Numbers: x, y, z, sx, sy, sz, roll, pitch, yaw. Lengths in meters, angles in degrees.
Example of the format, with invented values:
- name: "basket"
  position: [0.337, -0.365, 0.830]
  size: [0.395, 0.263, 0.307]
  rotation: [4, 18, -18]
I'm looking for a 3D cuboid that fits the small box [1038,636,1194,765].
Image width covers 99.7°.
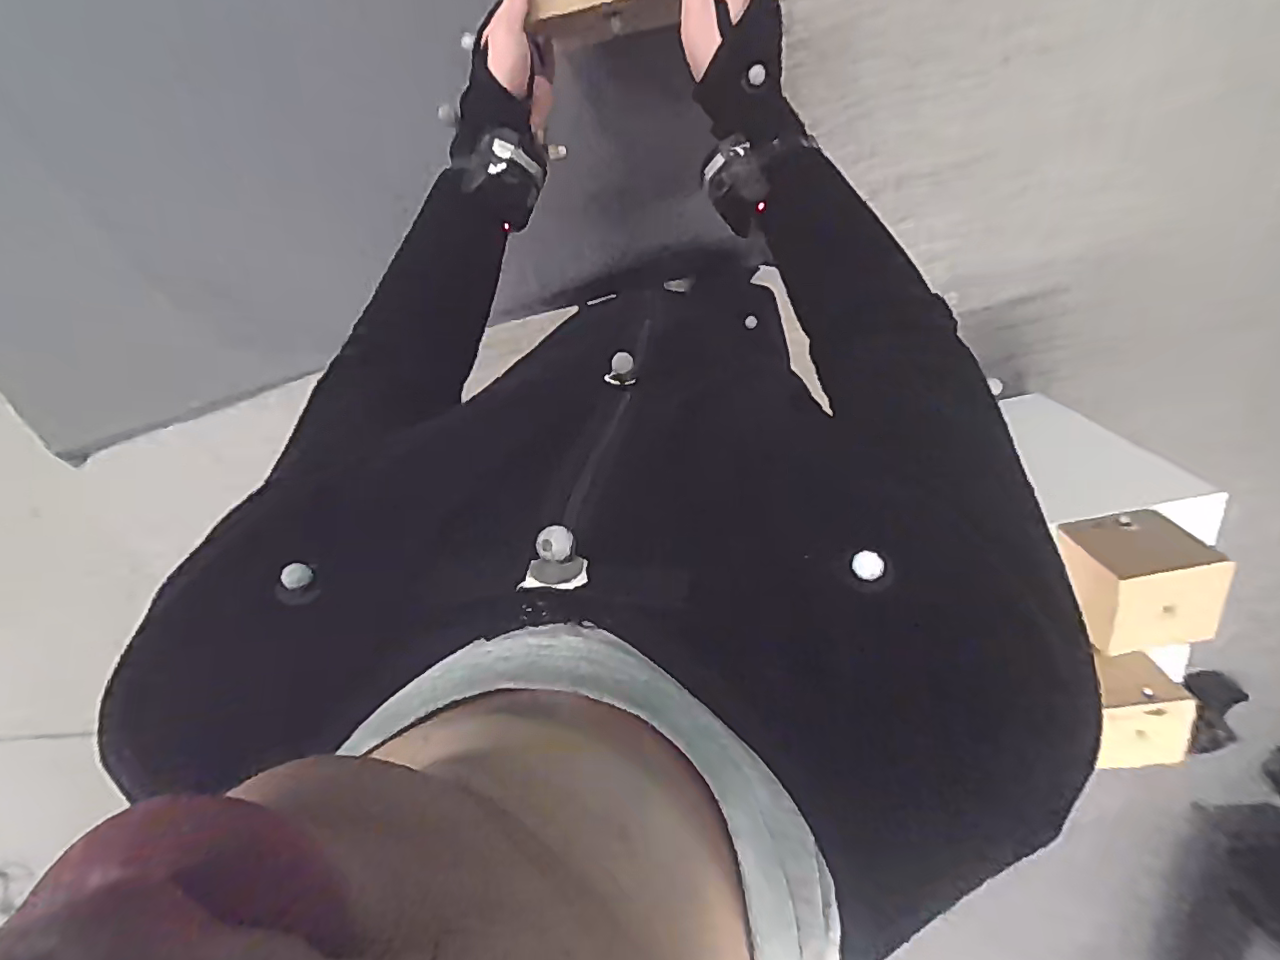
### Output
- name: "small box"
  position: [0.952, 0.441, 1.103]
  size: [0.168, 0.176, 0.179]
  rotation: [-13, 116, 6]

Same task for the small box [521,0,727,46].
- name: "small box"
  position: [-0.012, -0.483, 0.441]
  size: [0.179, 0.176, 0.168]
  rotation: [-6, 121, 9]

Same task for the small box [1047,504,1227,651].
- name: "small box"
  position: [0.871, 0.171, 0.969]
  size: [0.168, 0.176, 0.179]
  rotation: [-16, 115, 6]
